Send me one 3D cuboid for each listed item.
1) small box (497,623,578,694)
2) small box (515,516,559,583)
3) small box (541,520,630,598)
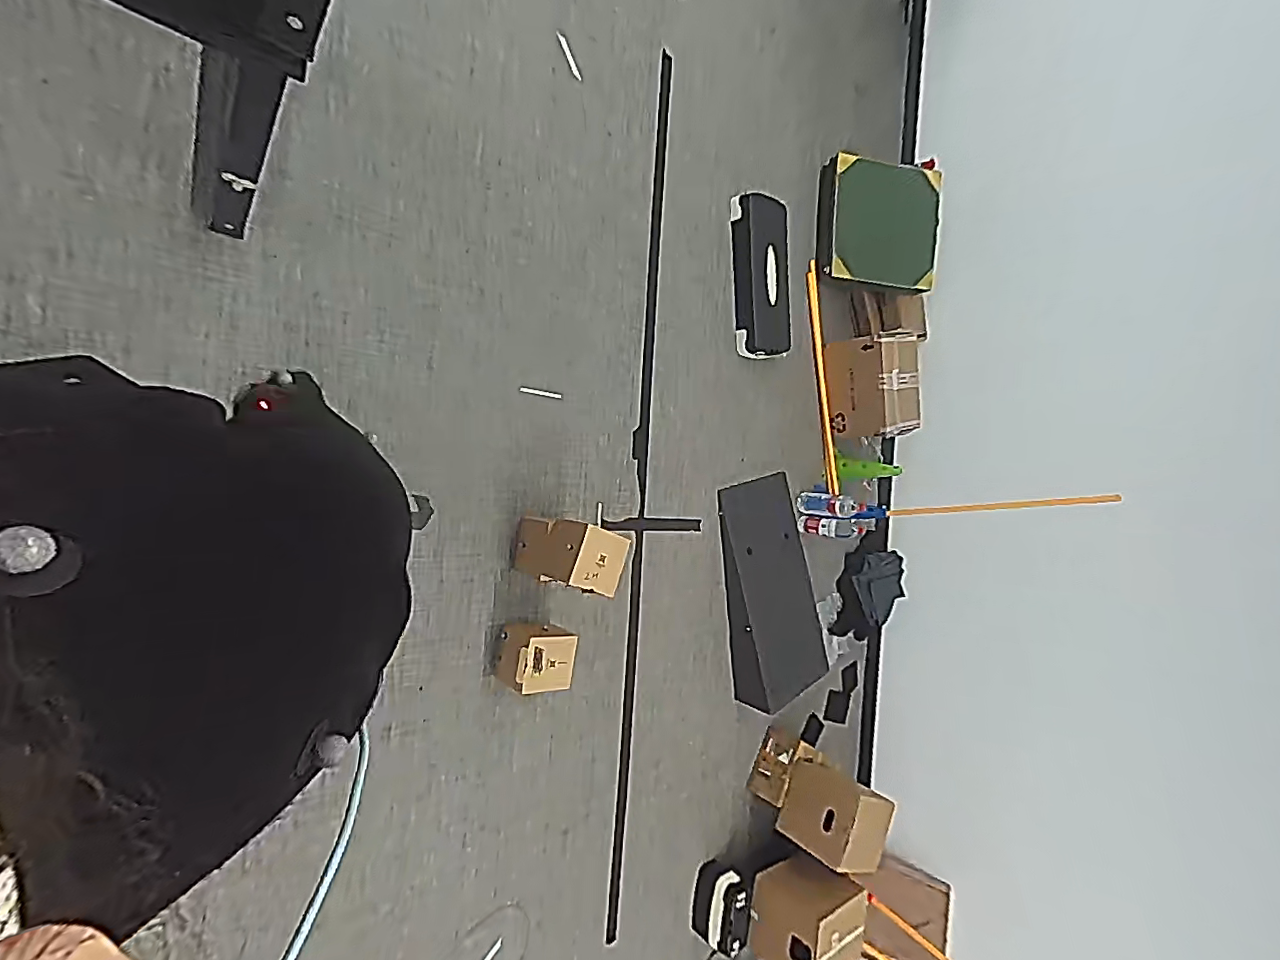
[{"bbox_3d":[-0.321,0.545,1.670,0.179,0.176,0.168,12,85,-42],"label":"small box"},{"bbox_3d":[-0.274,0.217,1.687,0.168,0.176,0.179,11,87,-41],"label":"small box"},{"bbox_3d":[-0.162,0.225,1.565,0.168,0.176,0.179,27,75,-38],"label":"small box"}]
